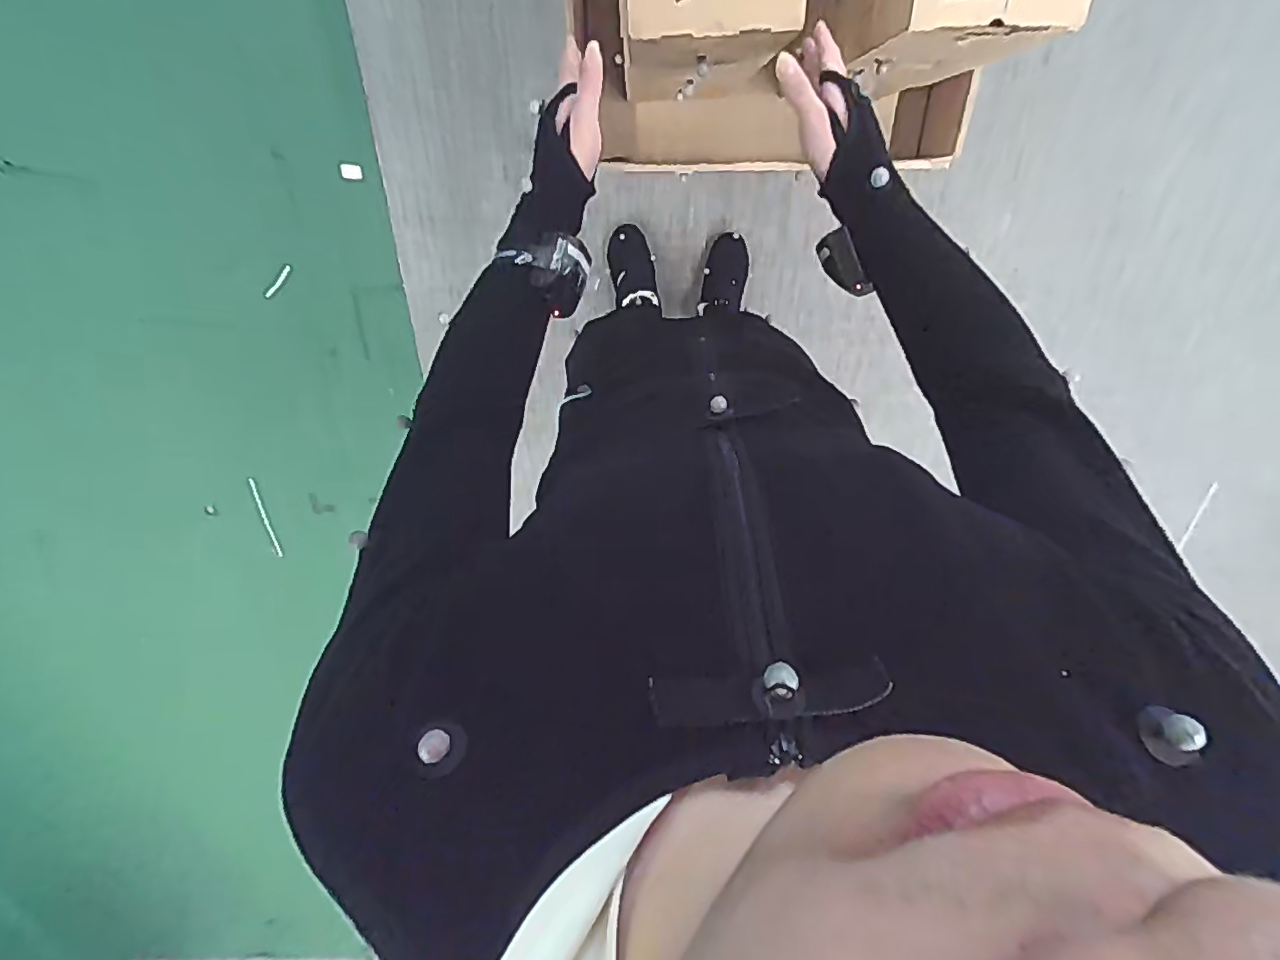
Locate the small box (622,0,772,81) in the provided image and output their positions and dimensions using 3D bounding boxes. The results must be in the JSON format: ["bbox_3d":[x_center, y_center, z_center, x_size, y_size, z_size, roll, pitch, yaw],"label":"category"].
[{"bbox_3d":[0.066,-0.613,0.673,0.179,0.176,0.168,-3,119,1],"label":"small box"}]

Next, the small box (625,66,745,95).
[{"bbox_3d":[0.065,-0.693,0.816,0.179,0.176,0.168,-2,119,0],"label":"small box"}]

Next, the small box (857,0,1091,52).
[{"bbox_3d":[0.328,-0.538,0.524,0.168,0.176,0.179,0,118,0],"label":"small box"}]

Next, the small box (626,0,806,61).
[{"bbox_3d":[0.067,-0.536,0.526,0.168,0.176,0.179,-2,120,2],"label":"small box"}]
